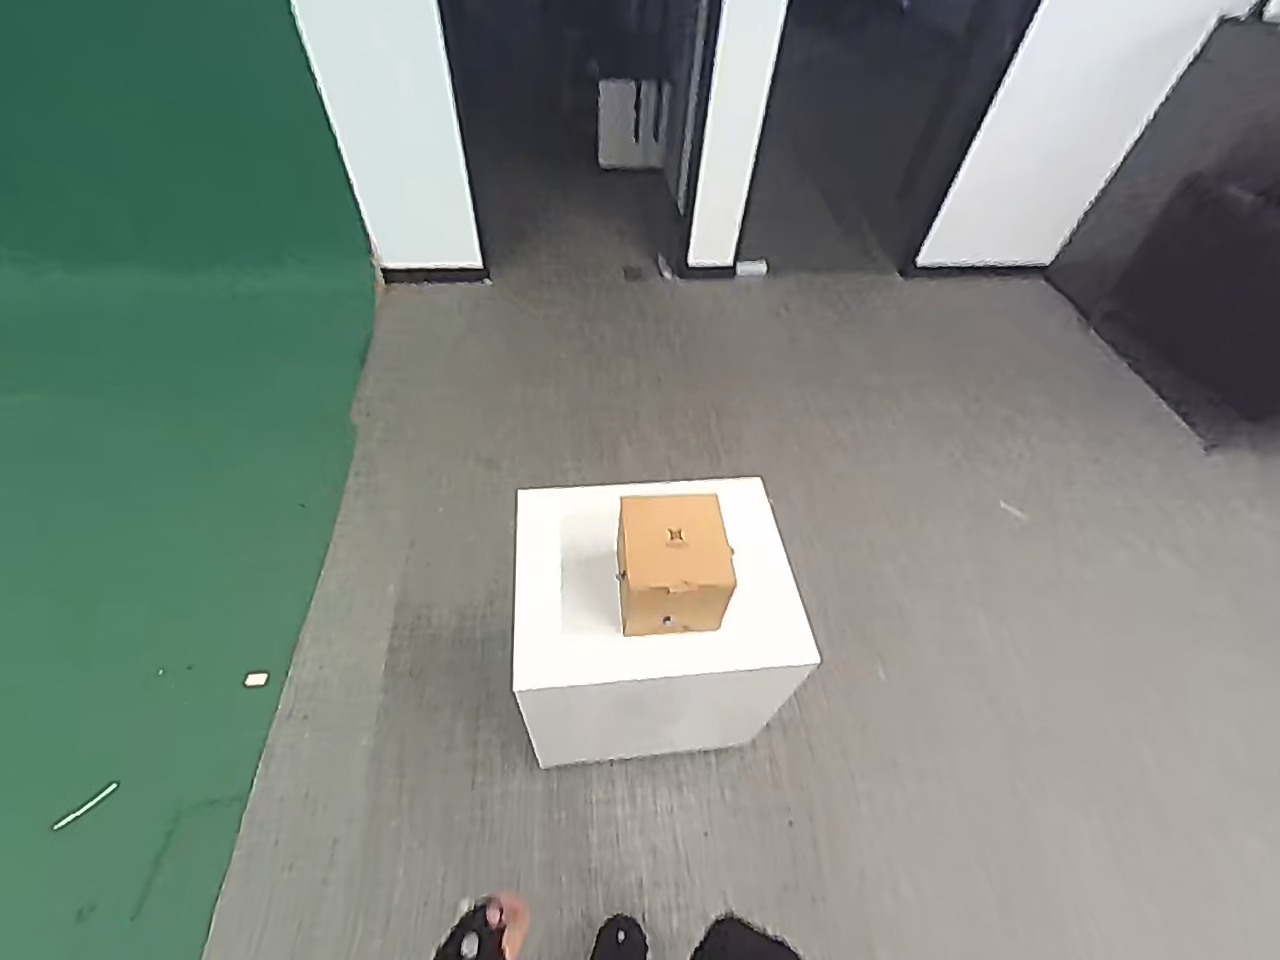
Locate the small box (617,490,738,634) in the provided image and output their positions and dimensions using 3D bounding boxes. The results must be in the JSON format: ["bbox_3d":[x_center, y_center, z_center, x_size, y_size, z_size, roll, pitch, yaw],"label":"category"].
[{"bbox_3d":[0.051,0.136,0.900,0.168,0.176,0.179,-2,50,-6],"label":"small box"}]
